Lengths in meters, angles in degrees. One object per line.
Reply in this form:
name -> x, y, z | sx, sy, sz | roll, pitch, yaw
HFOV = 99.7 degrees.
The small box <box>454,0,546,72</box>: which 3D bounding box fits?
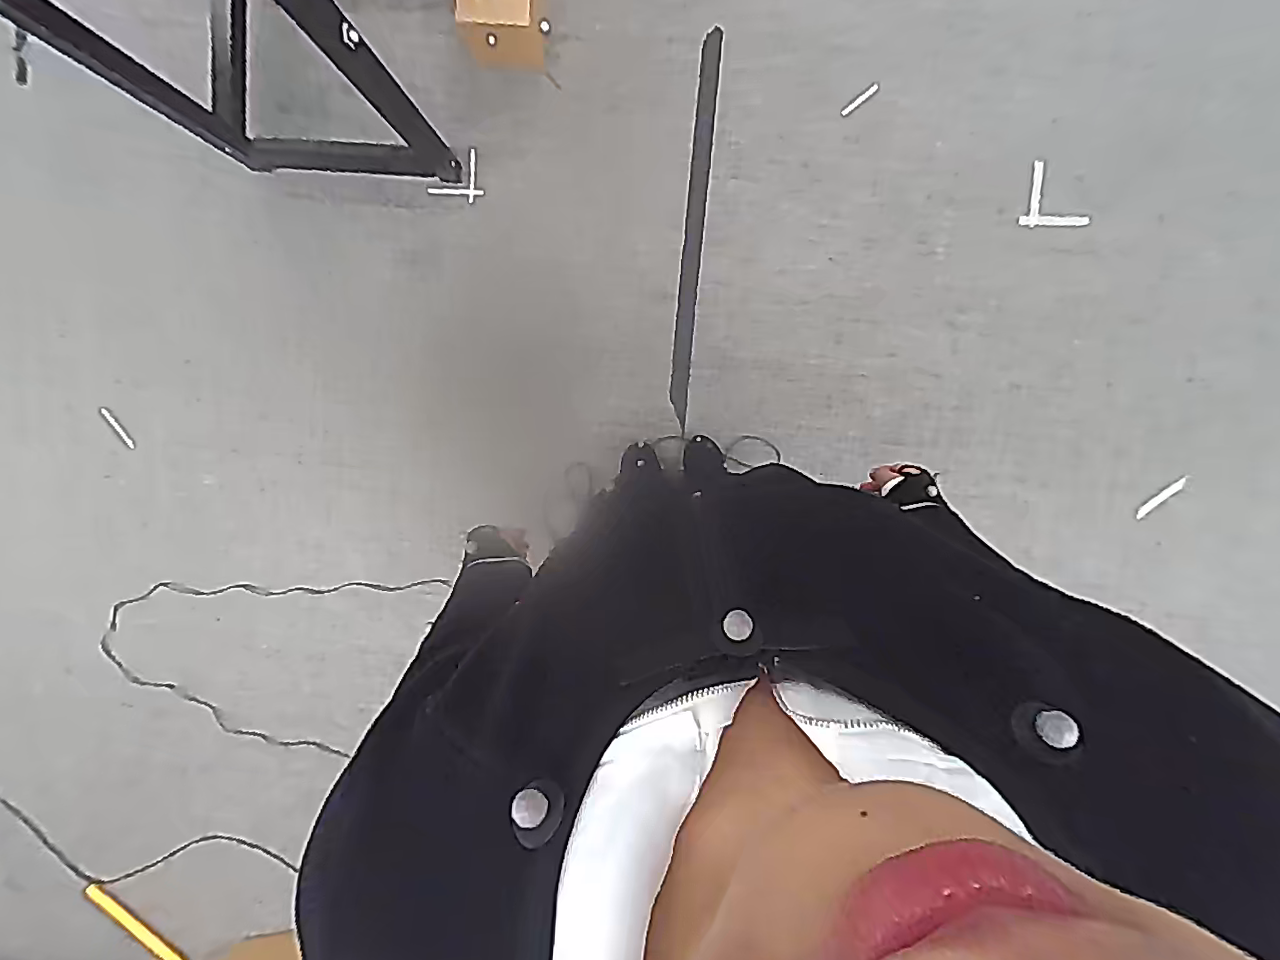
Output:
small box -> -0.335, -1.136, 1.317 | 0.179, 0.176, 0.168 | 4, 97, 1
